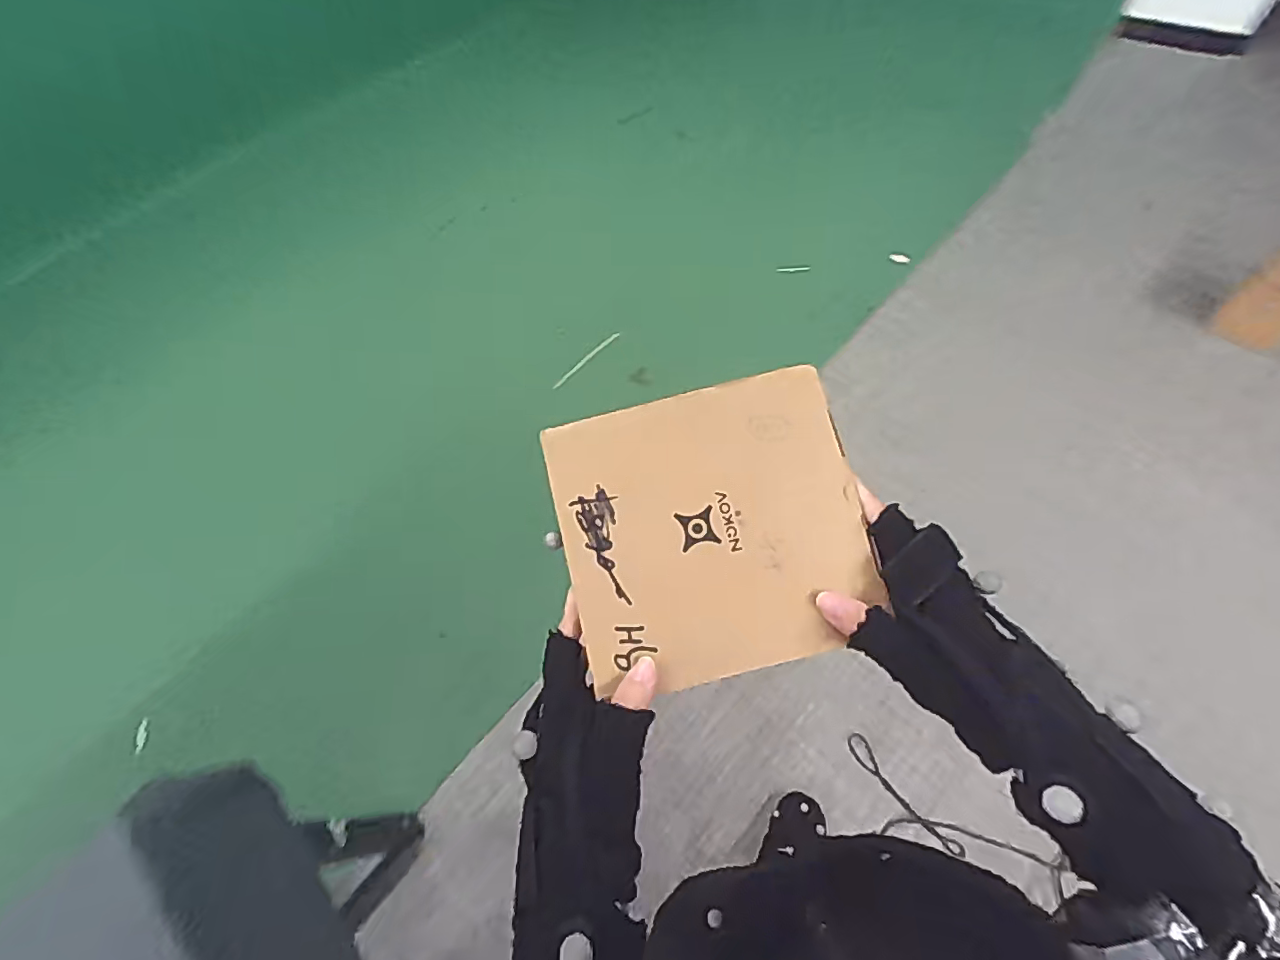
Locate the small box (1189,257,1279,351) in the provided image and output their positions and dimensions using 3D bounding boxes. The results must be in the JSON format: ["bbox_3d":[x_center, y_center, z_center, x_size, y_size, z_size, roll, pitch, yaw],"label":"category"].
[{"bbox_3d":[1.796,-0.512,1.591,0.179,0.176,0.168,37,72,24],"label":"small box"}]

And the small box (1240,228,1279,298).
[{"bbox_3d":[1.780,-0.604,1.439,0.168,0.176,0.179,36,72,26],"label":"small box"}]

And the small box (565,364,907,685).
[{"bbox_3d":[0.055,0.037,0.399,0.179,0.176,0.168,-13,78,0],"label":"small box"}]
